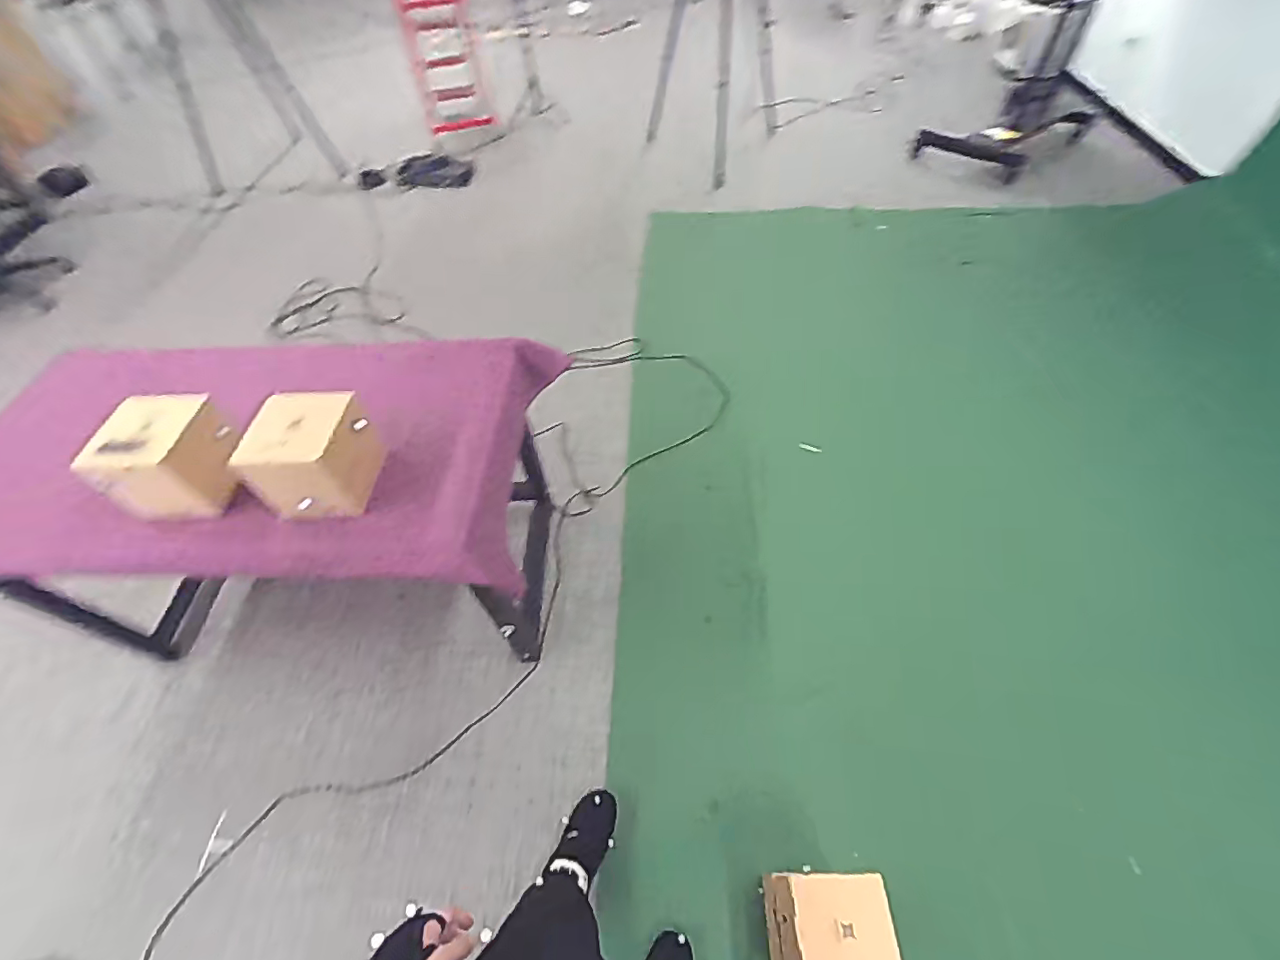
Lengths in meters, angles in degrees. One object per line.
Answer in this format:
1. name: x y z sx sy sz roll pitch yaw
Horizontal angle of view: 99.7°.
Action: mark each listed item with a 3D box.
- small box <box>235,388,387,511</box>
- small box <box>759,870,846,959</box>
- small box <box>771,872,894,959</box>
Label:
1. small box: -0.622 -0.059 1.053 0.168 0.176 0.179 0 53 4
2. small box: 0.358 0.948 1.166 0.179 0.176 0.168 0 54 1
3. small box: 0.360 0.854 1.033 0.179 0.176 0.168 -2 54 2
